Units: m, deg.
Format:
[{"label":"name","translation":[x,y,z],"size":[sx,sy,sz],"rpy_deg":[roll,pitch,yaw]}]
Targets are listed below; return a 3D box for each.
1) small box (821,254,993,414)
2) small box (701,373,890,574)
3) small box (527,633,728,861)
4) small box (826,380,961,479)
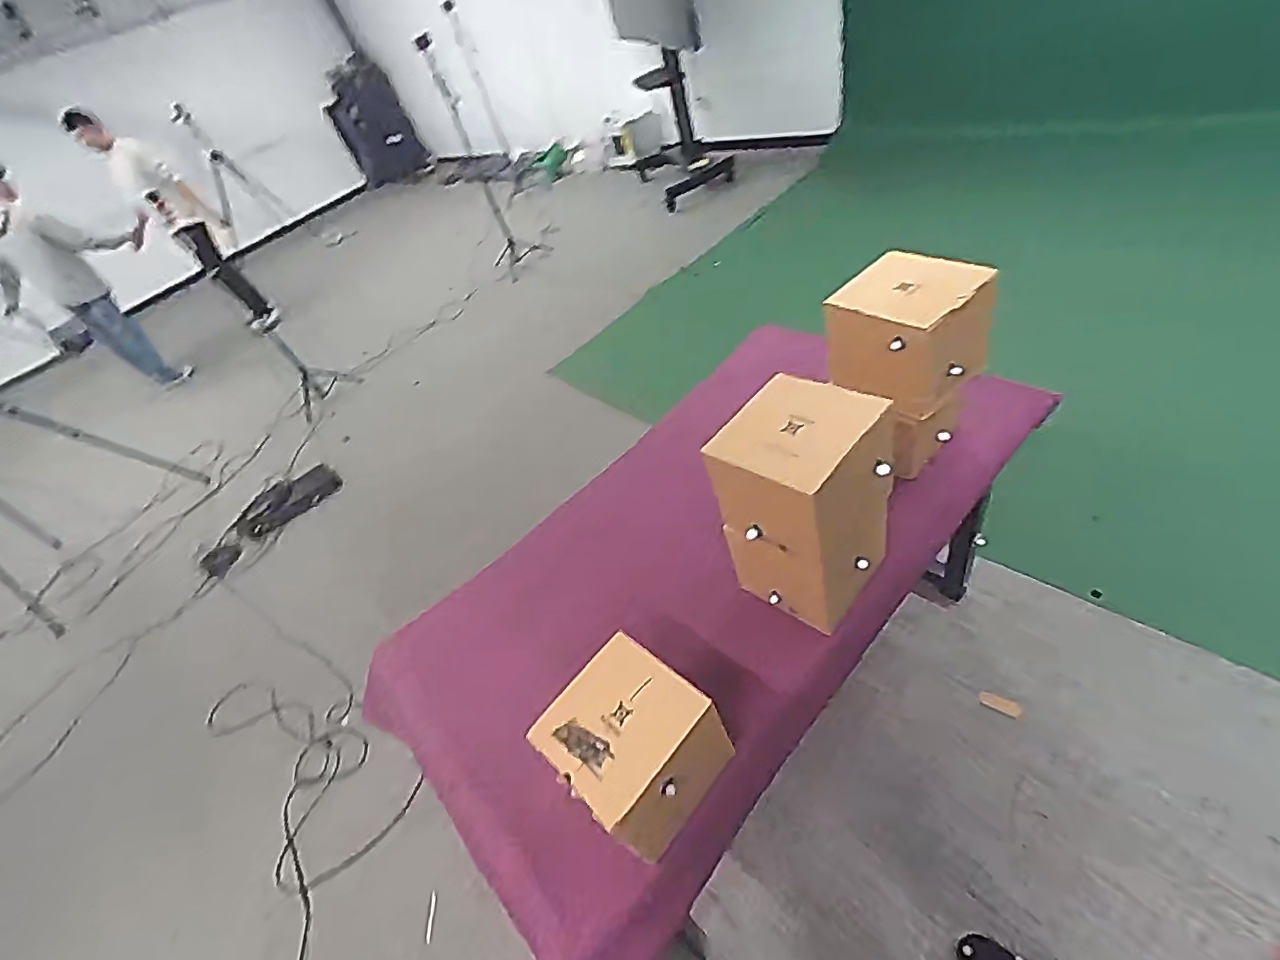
[{"label":"small box","translation":[0.414,-0.230,0.857],"size":[0.168,0.176,0.179],"rpy_deg":[-39,44,-15]},{"label":"small box","translation":[0.211,-0.012,0.722],"size":[0.179,0.176,0.168],"rpy_deg":[-44,44,-20]},{"label":"small box","translation":[-0.006,0.343,0.698],"size":[0.168,0.176,0.179],"rpy_deg":[25,59,41]},{"label":"small box","translation":[0.460,-0.135,0.983],"size":[0.168,0.176,0.179],"rpy_deg":[26,61,42]}]
